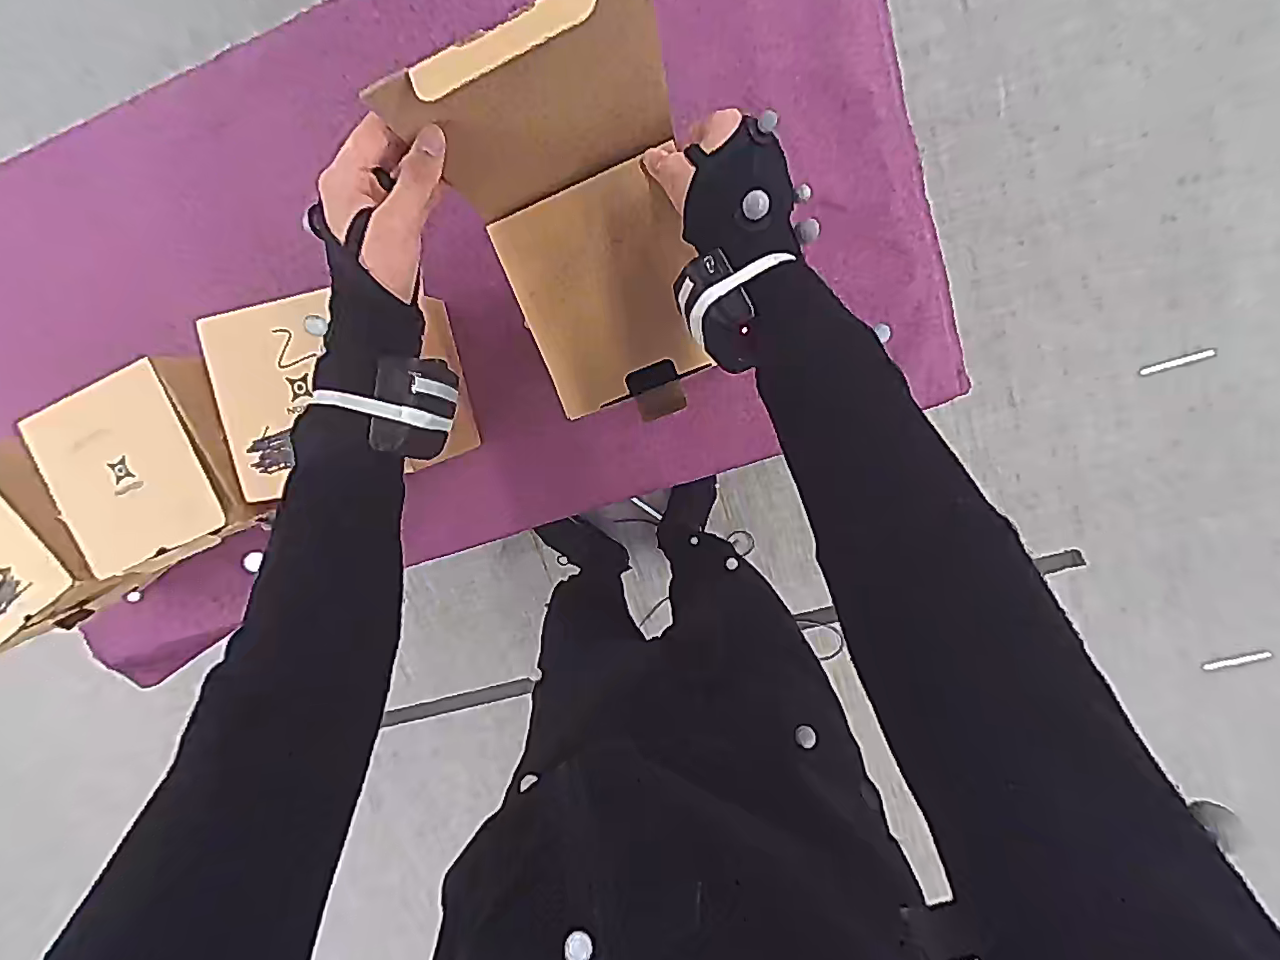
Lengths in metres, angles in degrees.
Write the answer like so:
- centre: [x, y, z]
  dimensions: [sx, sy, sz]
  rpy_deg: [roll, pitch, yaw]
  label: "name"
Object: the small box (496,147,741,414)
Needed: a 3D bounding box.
- centre: [-0.011, -0.177, 0.530]
  dimensions: [0.168, 0.176, 0.179]
  rpy_deg: [-19, 100, 10]
  label: "small box"
